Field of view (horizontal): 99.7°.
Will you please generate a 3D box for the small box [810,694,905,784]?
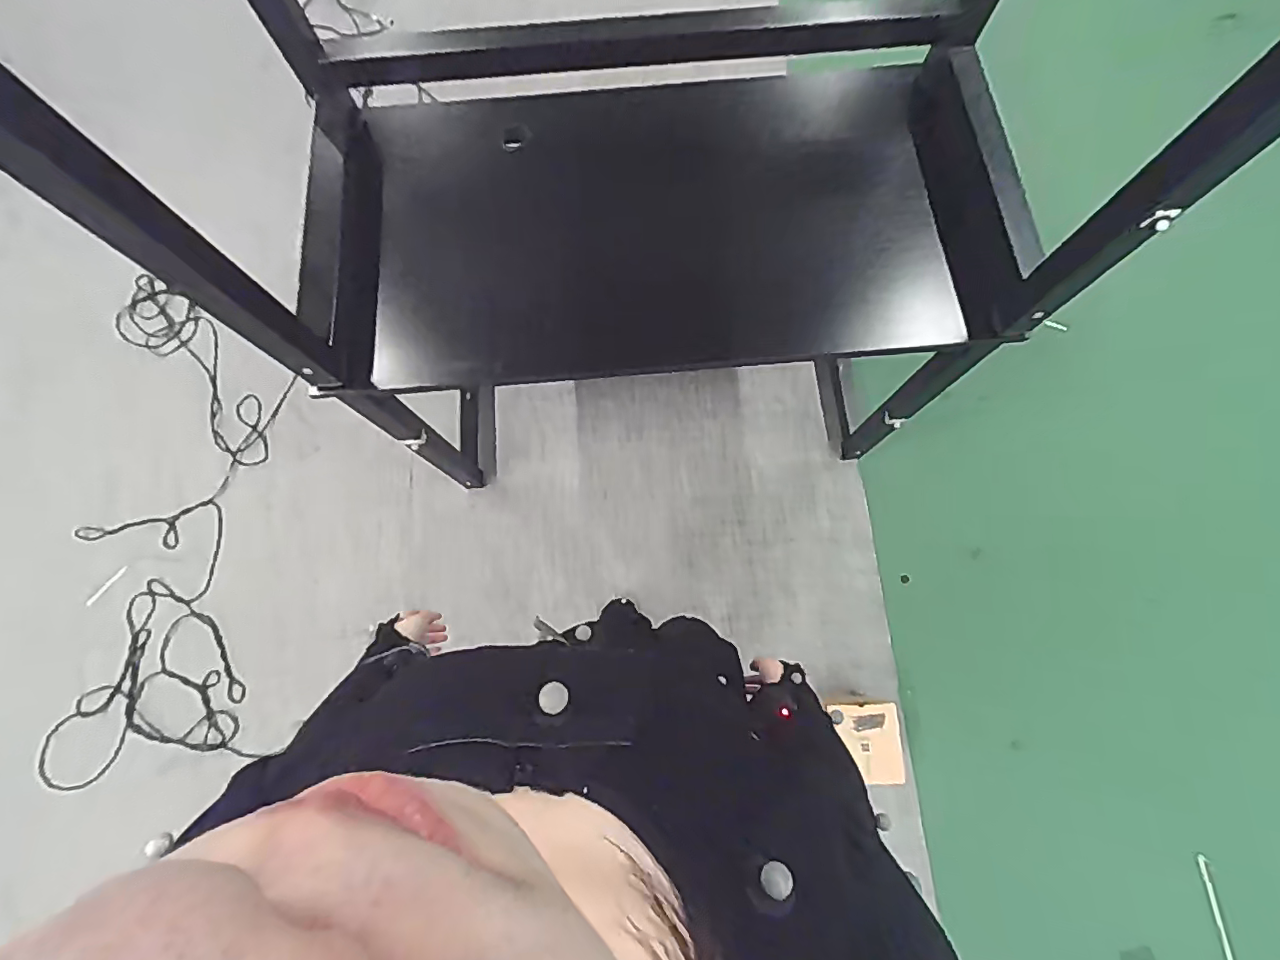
[{"bbox_3d":[0.525,0.629,1.333,0.168,0.176,0.179,-1,77,2],"label":"small box"}]
